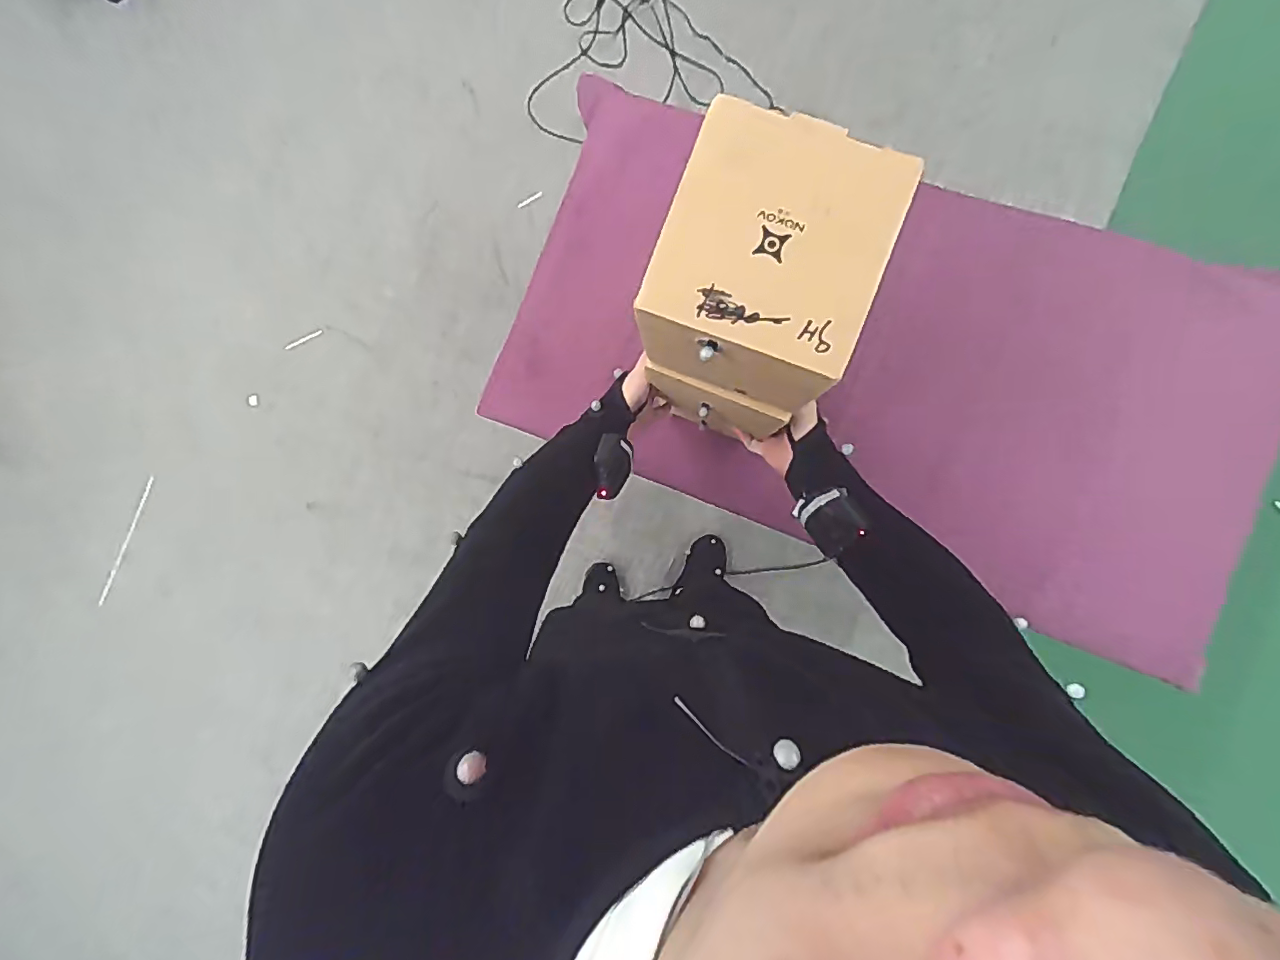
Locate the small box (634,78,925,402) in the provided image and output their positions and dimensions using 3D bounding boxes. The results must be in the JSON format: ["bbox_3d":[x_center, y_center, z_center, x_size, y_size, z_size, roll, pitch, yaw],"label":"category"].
[{"bbox_3d":[0.106,-0.186,0.472,0.168,0.176,0.179,21,91,6],"label":"small box"}]

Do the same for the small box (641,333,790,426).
[{"bbox_3d":[0.115,-0.176,0.636,0.168,0.176,0.179,23,91,5],"label":"small box"}]
